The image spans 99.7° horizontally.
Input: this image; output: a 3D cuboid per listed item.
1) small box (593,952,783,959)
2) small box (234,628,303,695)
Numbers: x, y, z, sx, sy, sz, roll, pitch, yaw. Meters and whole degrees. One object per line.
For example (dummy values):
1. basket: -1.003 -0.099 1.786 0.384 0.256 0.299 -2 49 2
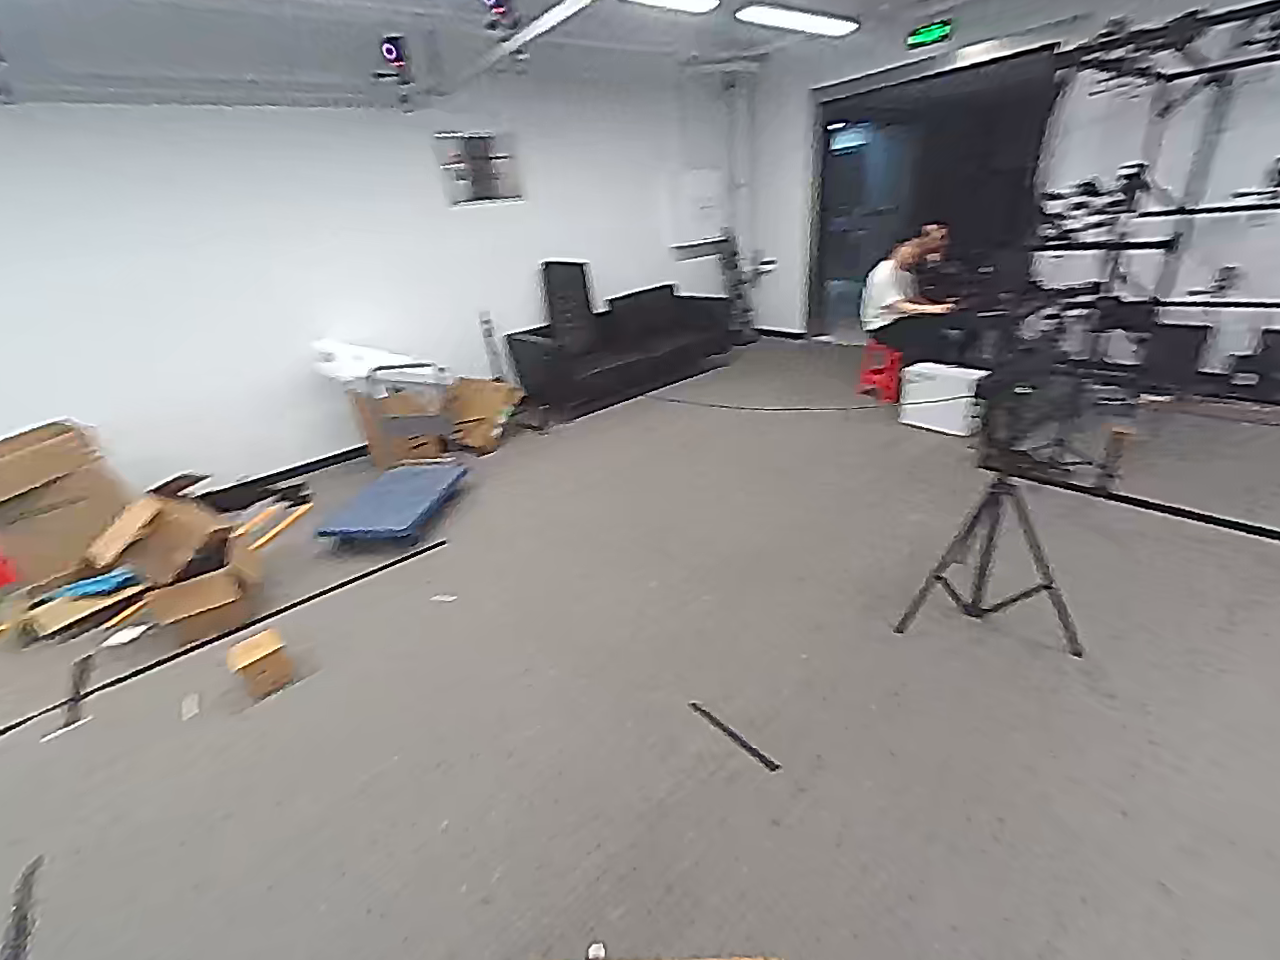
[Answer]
1. small box: 0.014 0.421 0.337 0.179 0.176 0.168 -5 40 1
2. small box: -1.520 0.749 2.218 0.179 0.176 0.168 18 35 41
